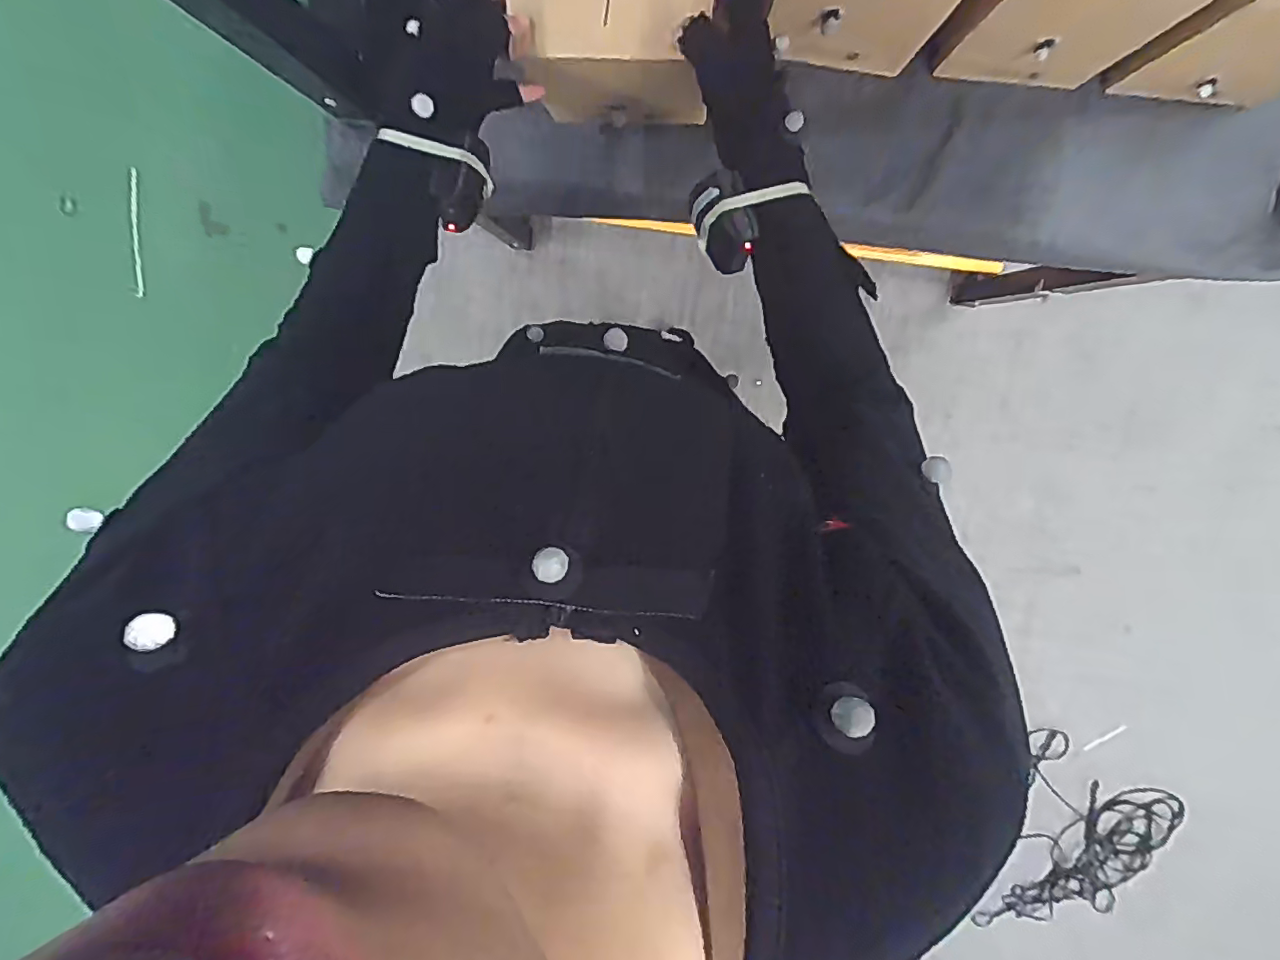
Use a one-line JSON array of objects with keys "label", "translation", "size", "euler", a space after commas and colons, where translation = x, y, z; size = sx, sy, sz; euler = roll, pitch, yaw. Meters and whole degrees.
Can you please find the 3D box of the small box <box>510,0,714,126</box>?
[{"label": "small box", "translation": [-0.016, -0.450, 0.493], "size": [0.168, 0.176, 0.179], "euler": [3, 110, 4]}]
